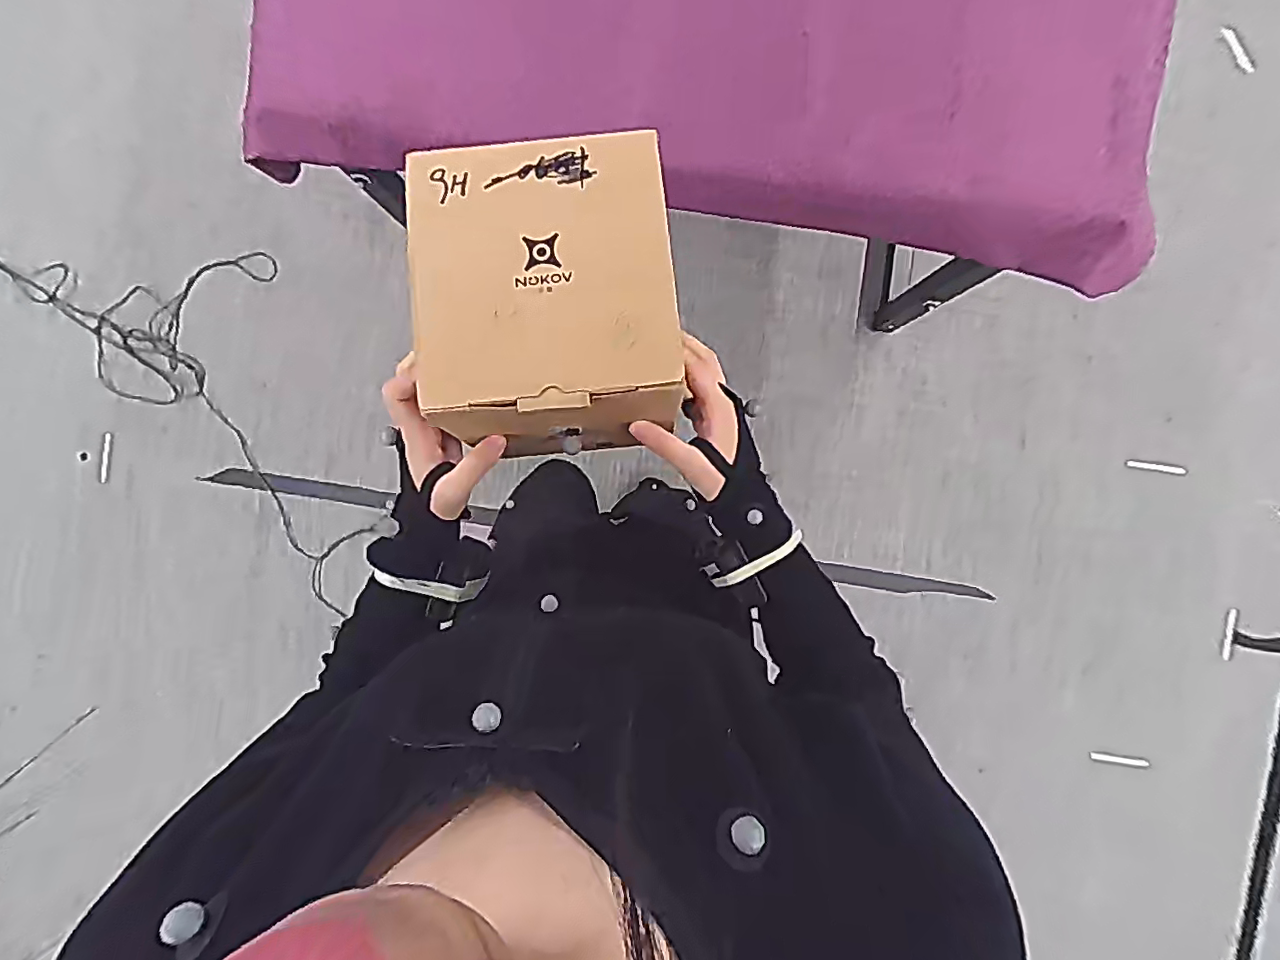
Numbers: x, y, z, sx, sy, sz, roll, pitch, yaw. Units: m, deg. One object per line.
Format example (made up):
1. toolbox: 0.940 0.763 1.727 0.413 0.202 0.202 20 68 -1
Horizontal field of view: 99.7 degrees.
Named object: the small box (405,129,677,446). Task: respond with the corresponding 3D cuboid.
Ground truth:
1. small box: -0.063 -0.126 0.422 0.168 0.176 0.179 -6 83 -1
